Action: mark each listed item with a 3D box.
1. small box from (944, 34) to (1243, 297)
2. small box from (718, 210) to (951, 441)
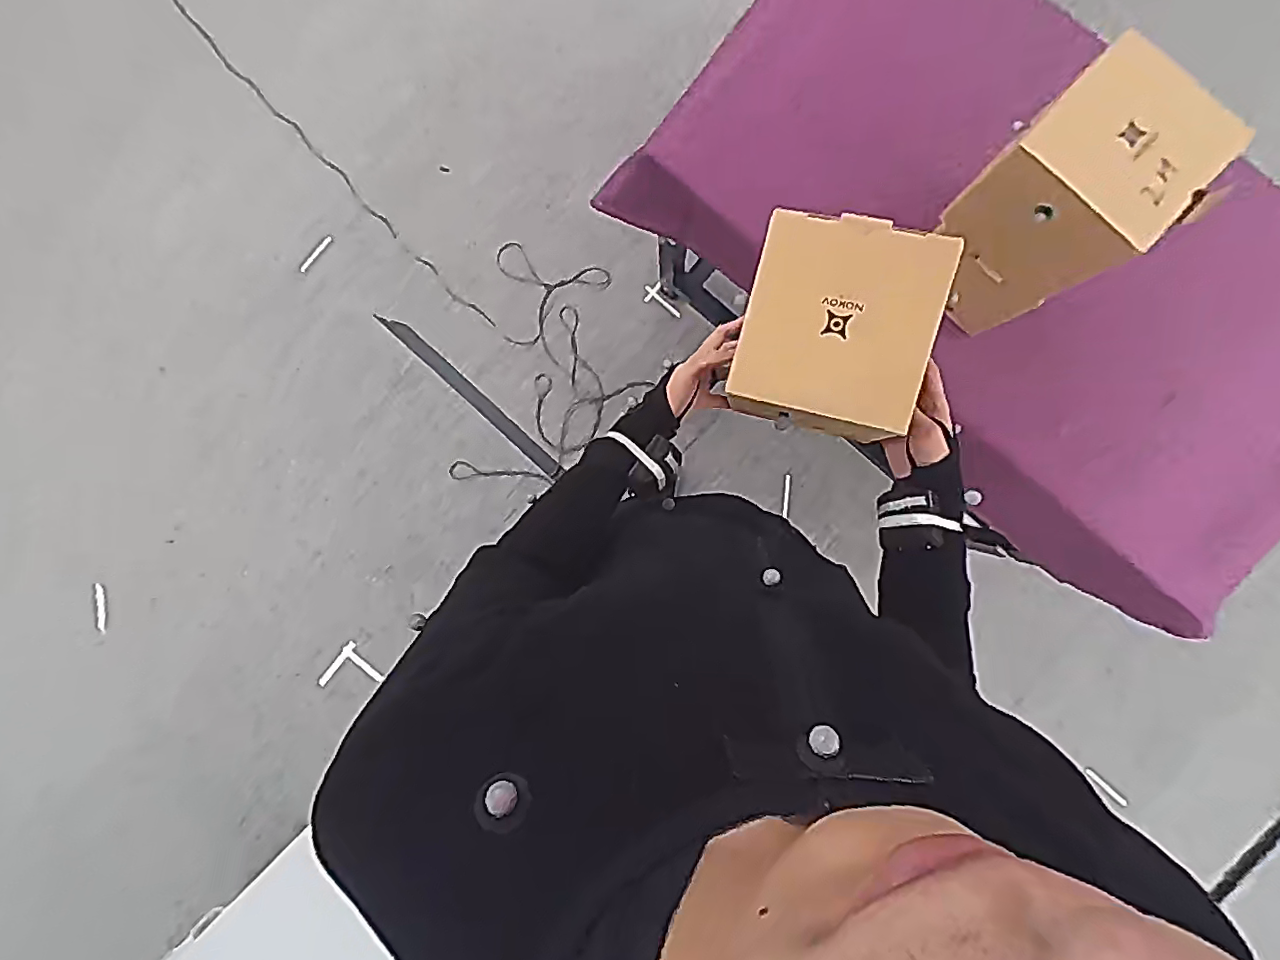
[{"bbox_3d":[0.513,-0.352,0.646,0.179,0.176,0.168,44,92,1],"label":"small box"},{"bbox_3d":[0.188,-0.145,0.564,0.168,0.176,0.179,15,93,12],"label":"small box"}]
